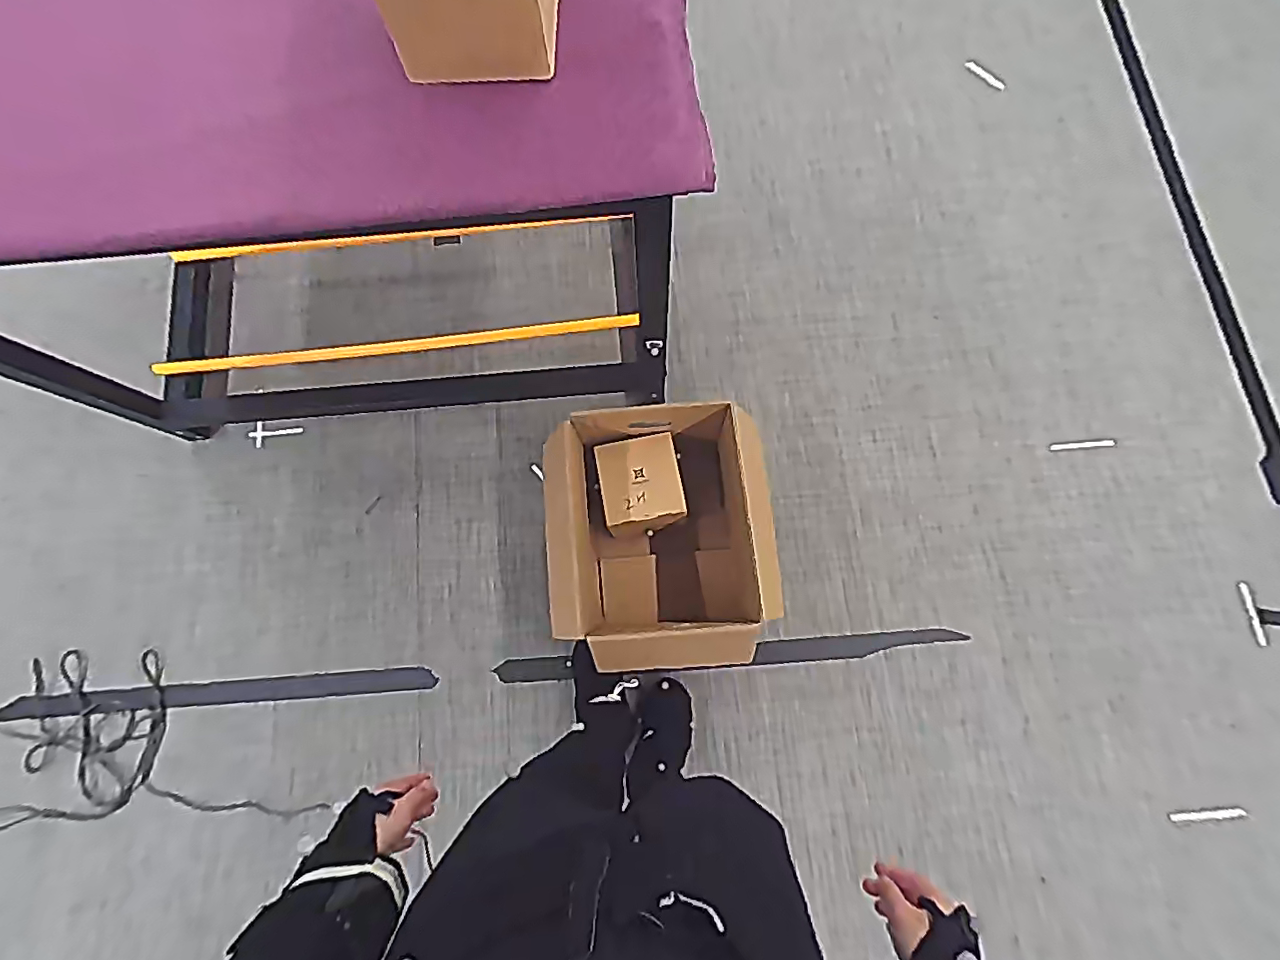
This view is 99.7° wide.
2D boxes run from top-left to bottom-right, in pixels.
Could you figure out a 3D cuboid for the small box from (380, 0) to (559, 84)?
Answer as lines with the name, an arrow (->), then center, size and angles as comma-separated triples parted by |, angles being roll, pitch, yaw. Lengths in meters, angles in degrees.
small box -> -0.187, -0.575, 0.595 | 0.179, 0.176, 0.168 | 0, 76, 2
